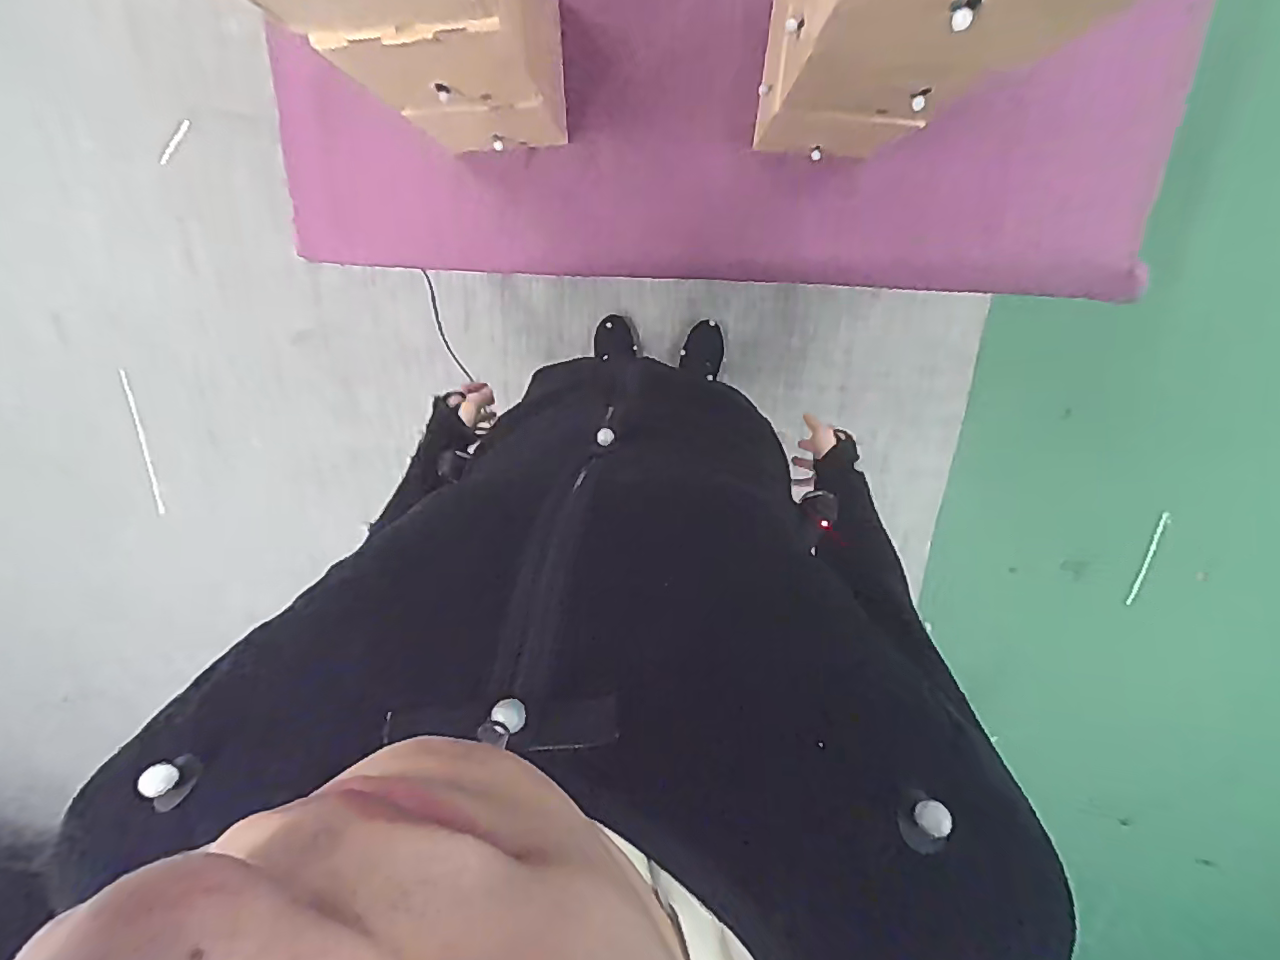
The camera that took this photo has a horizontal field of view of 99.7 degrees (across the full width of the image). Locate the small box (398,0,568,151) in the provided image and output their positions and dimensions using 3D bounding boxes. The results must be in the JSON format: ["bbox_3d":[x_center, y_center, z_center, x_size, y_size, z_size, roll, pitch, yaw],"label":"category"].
[{"bbox_3d":[-0.187,-0.523,0.656,0.168,0.176,0.179,-1,109,5],"label":"small box"}]

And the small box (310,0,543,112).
[{"bbox_3d":[-0.195,-0.475,0.500,0.168,0.176,0.179,-3,109,5],"label":"small box"}]

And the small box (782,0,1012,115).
[{"bbox_3d":[0.230,-0.449,0.478,0.168,0.176,0.179,5,109,2],"label":"small box"}]

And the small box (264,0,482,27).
[{"bbox_3d":[-0.212,-0.427,0.344,0.179,0.176,0.168,-2,109,5],"label":"small box"}]
